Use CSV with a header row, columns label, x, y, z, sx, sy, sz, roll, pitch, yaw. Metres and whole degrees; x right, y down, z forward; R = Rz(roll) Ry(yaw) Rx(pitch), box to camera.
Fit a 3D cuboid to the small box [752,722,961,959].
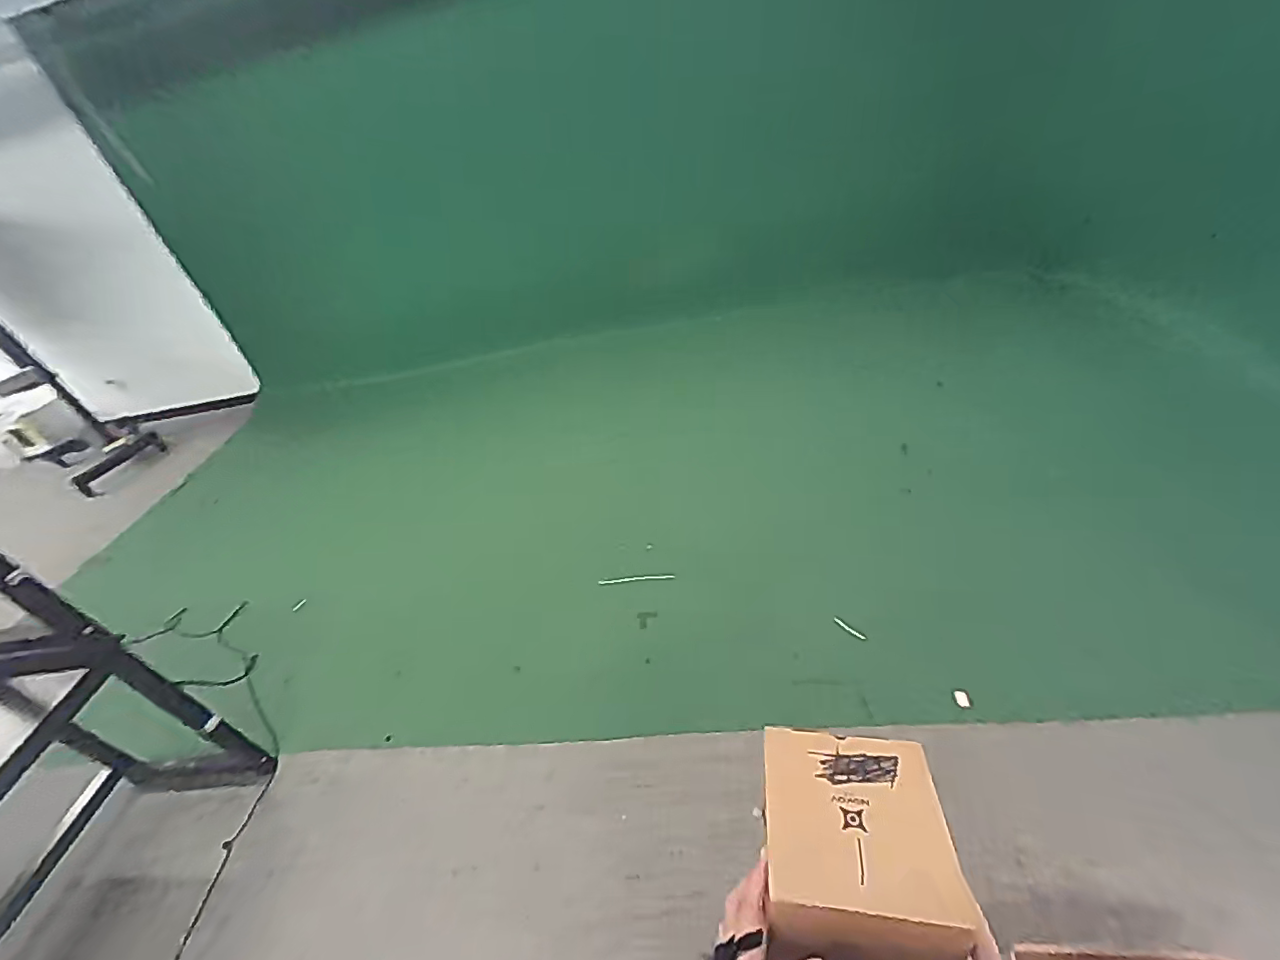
label,x,y,z,sx,sy,sz,roll,pitch,yaw
small box,0.204,0.390,0.566,0.168,0.176,0.179,0,27,10
